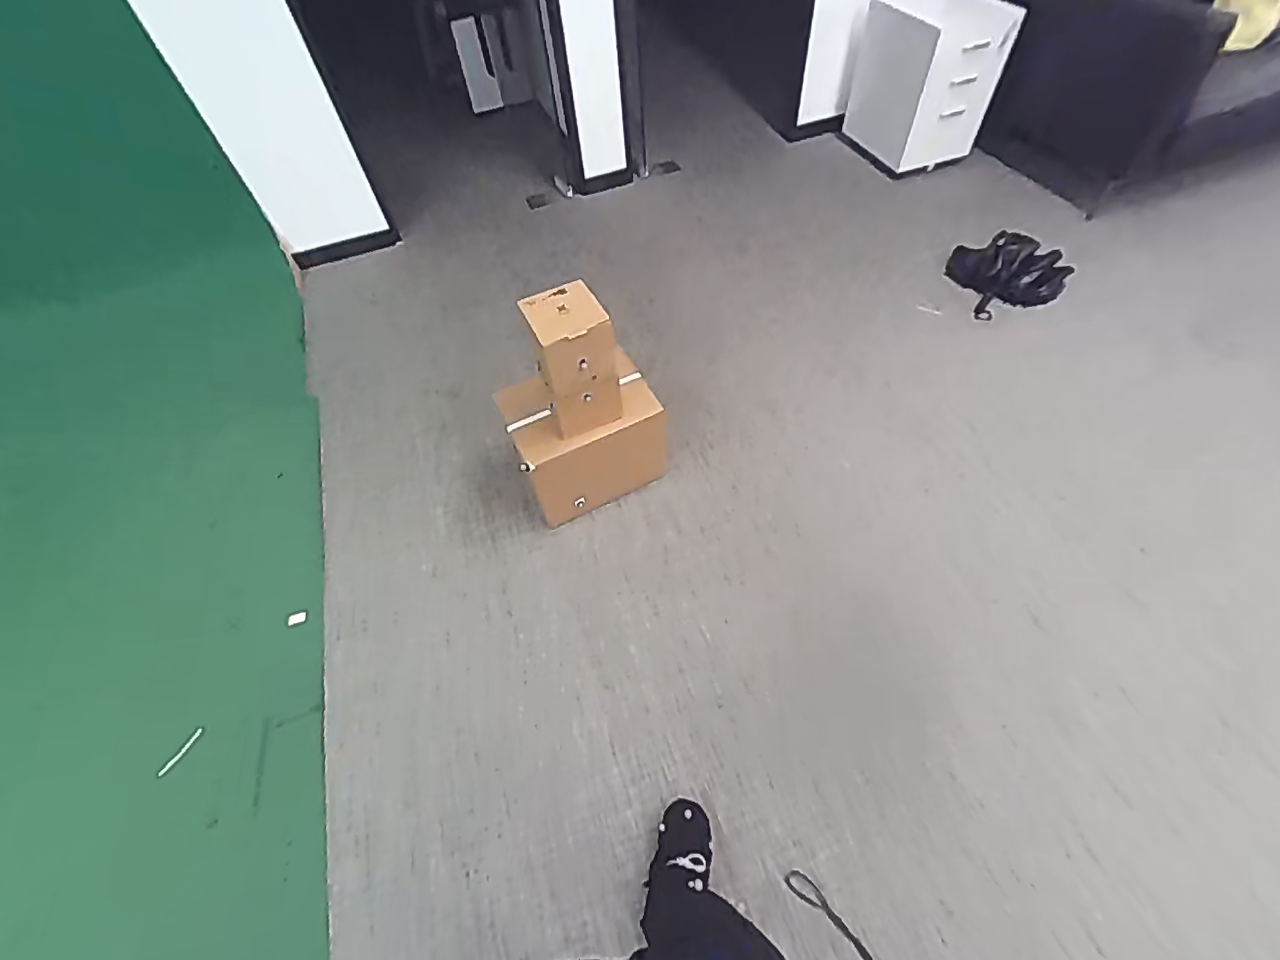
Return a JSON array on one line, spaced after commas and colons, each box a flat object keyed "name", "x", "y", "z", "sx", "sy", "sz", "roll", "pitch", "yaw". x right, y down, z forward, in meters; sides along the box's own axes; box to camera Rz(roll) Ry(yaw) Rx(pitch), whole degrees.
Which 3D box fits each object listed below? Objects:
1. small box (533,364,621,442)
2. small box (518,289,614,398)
[{"name": "small box", "x": -0.162, "y": -0.228, "z": 1.439, "sx": 0.179, "sy": 0.176, "sz": 0.168, "roll": -23, "pitch": 57, "yaw": -13}, {"name": "small box", "x": -0.173, "y": -0.320, "z": 1.303, "sx": 0.168, "sy": 0.176, "sz": 0.179, "roll": -24, "pitch": 58, "yaw": -12}]
